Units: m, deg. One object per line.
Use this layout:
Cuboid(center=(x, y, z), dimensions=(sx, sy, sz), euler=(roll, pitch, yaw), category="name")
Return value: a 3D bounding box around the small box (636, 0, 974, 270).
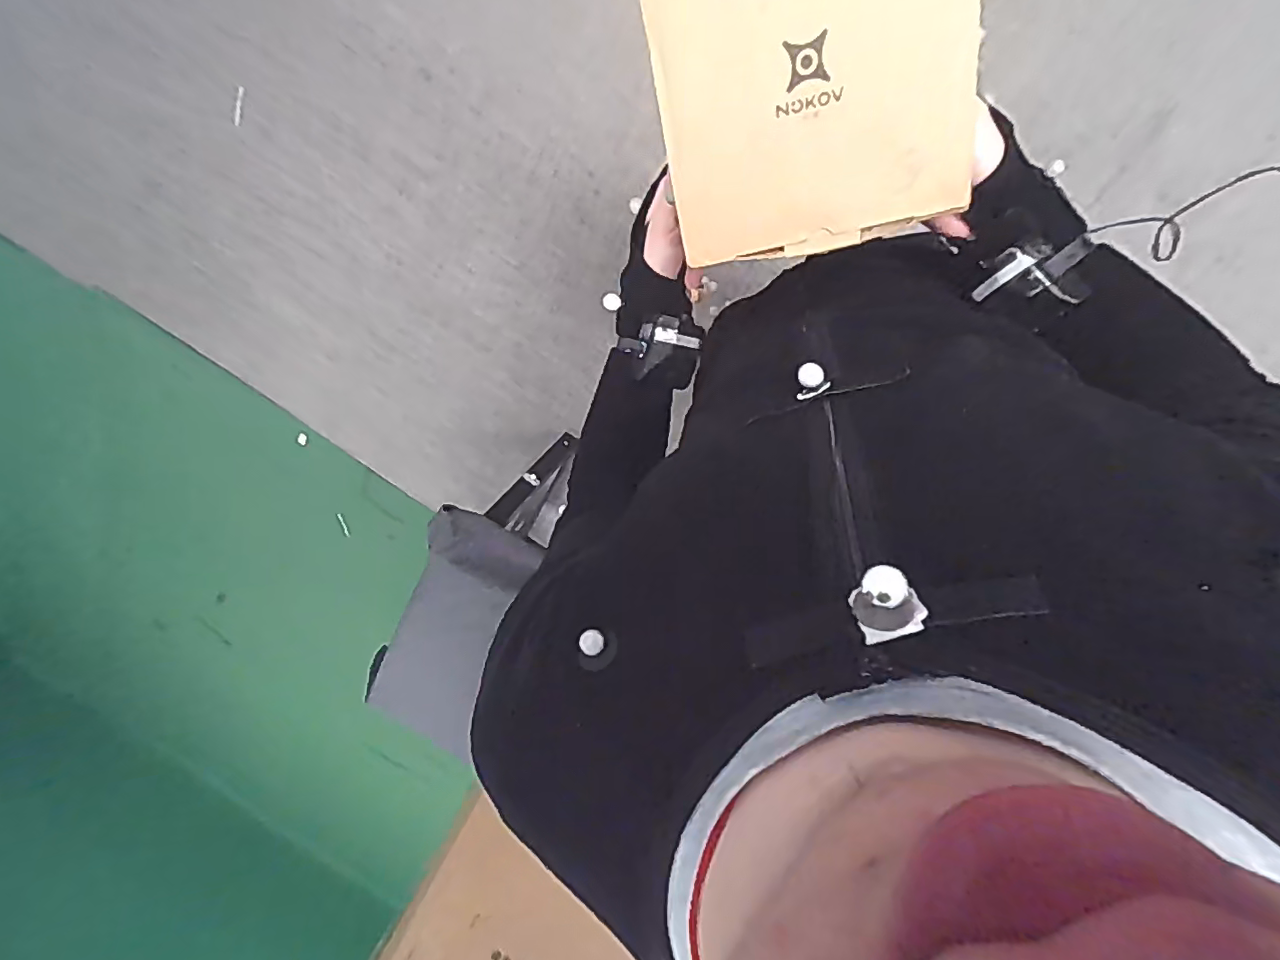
Cuboid(center=(0.102, -0.258, 0.358), dimensions=(0.168, 0.176, 0.179), euler=(-7, 117, 15), category="small box")
